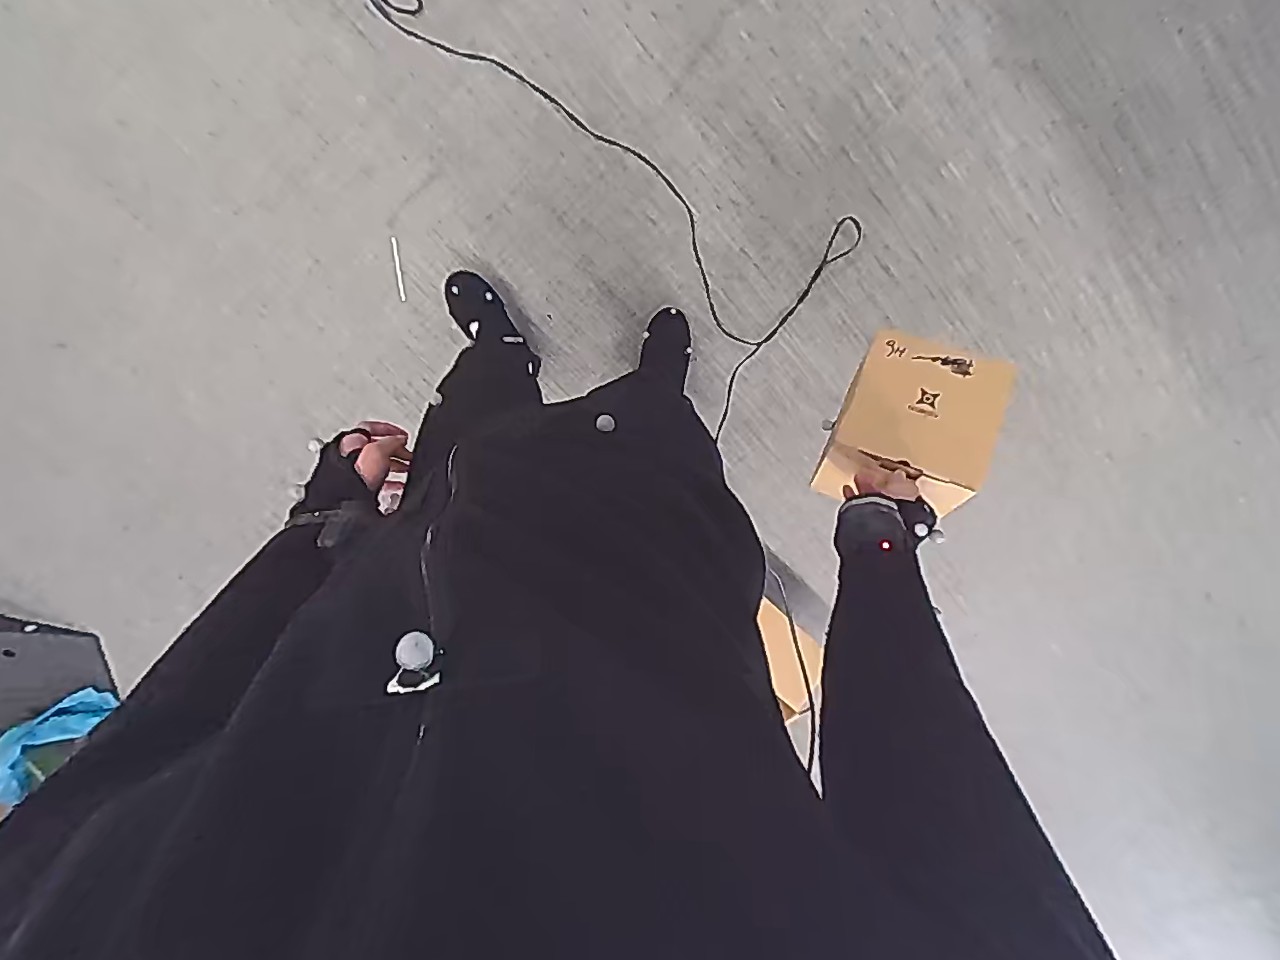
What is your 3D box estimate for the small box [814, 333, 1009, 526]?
[{"bbox_3d":[0.347,-0.058,0.725,0.168,0.176,0.179,23,74,14],"label":"small box"}]
